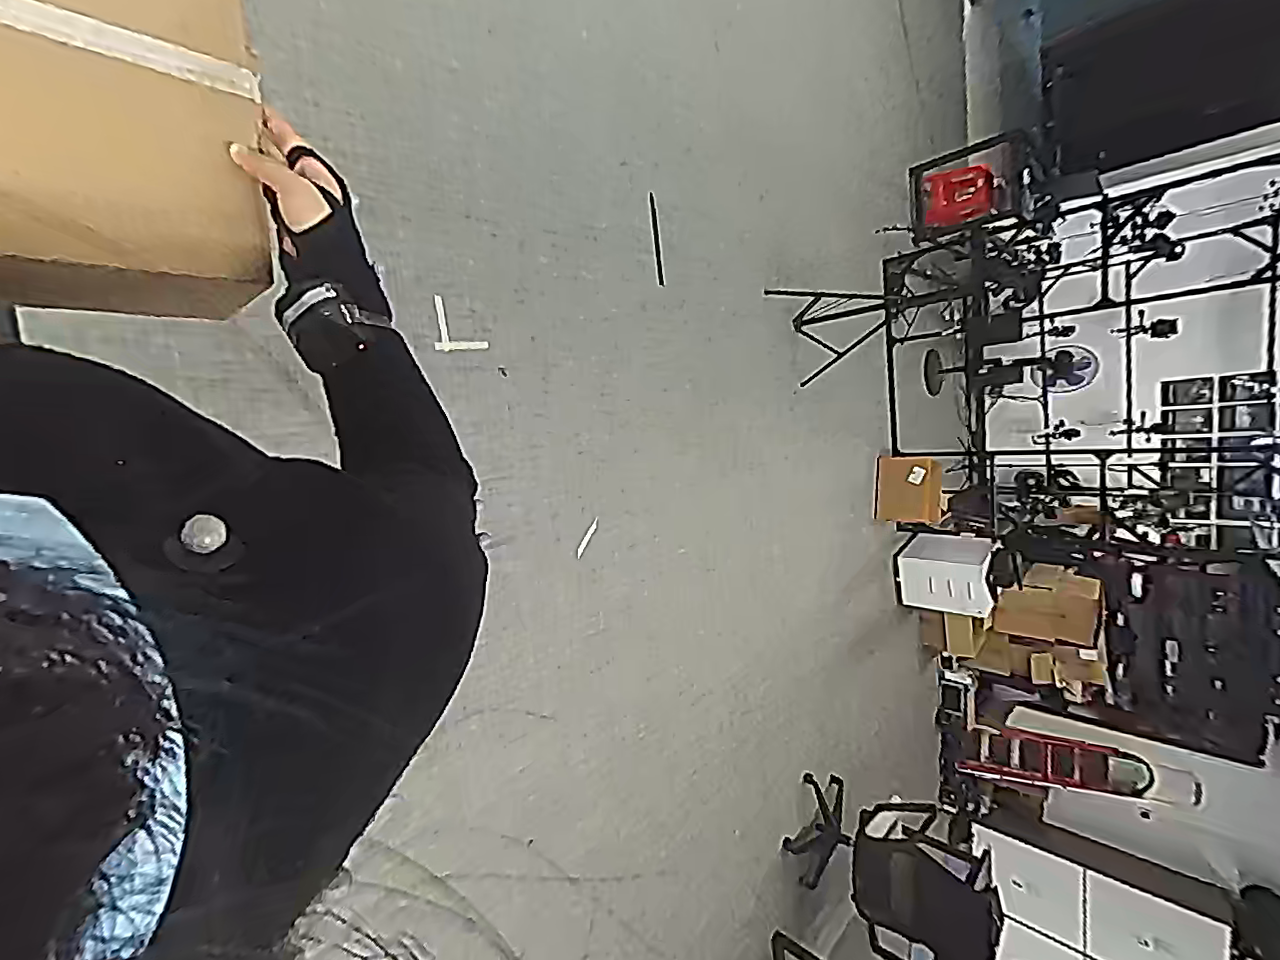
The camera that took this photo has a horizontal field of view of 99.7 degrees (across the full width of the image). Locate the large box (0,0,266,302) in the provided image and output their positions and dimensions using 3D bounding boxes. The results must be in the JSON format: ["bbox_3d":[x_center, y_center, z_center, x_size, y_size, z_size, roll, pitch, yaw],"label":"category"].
[{"bbox_3d":[-0.582,-0.328,0.430,0.408,0.320,0.320,-10,103,-43],"label":"large box"}]
